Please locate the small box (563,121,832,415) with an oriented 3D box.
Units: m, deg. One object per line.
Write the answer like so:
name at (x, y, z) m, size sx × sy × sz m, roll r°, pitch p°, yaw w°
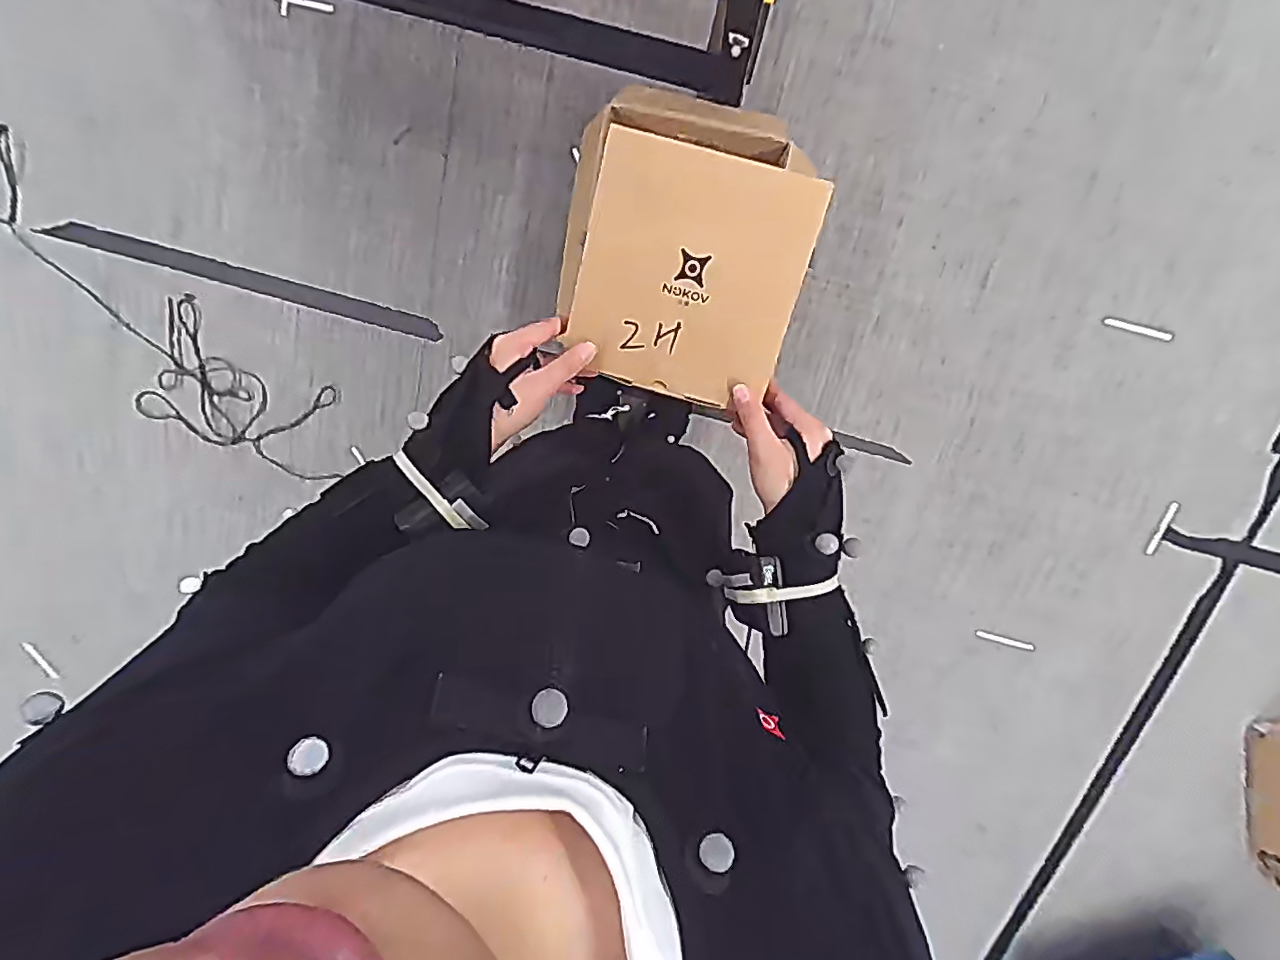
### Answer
small box at (0.045, -0.176, 0.479) m, size 0.168 × 0.176 × 0.179 m, roll 16°, pitch 109°, yaw 2°
